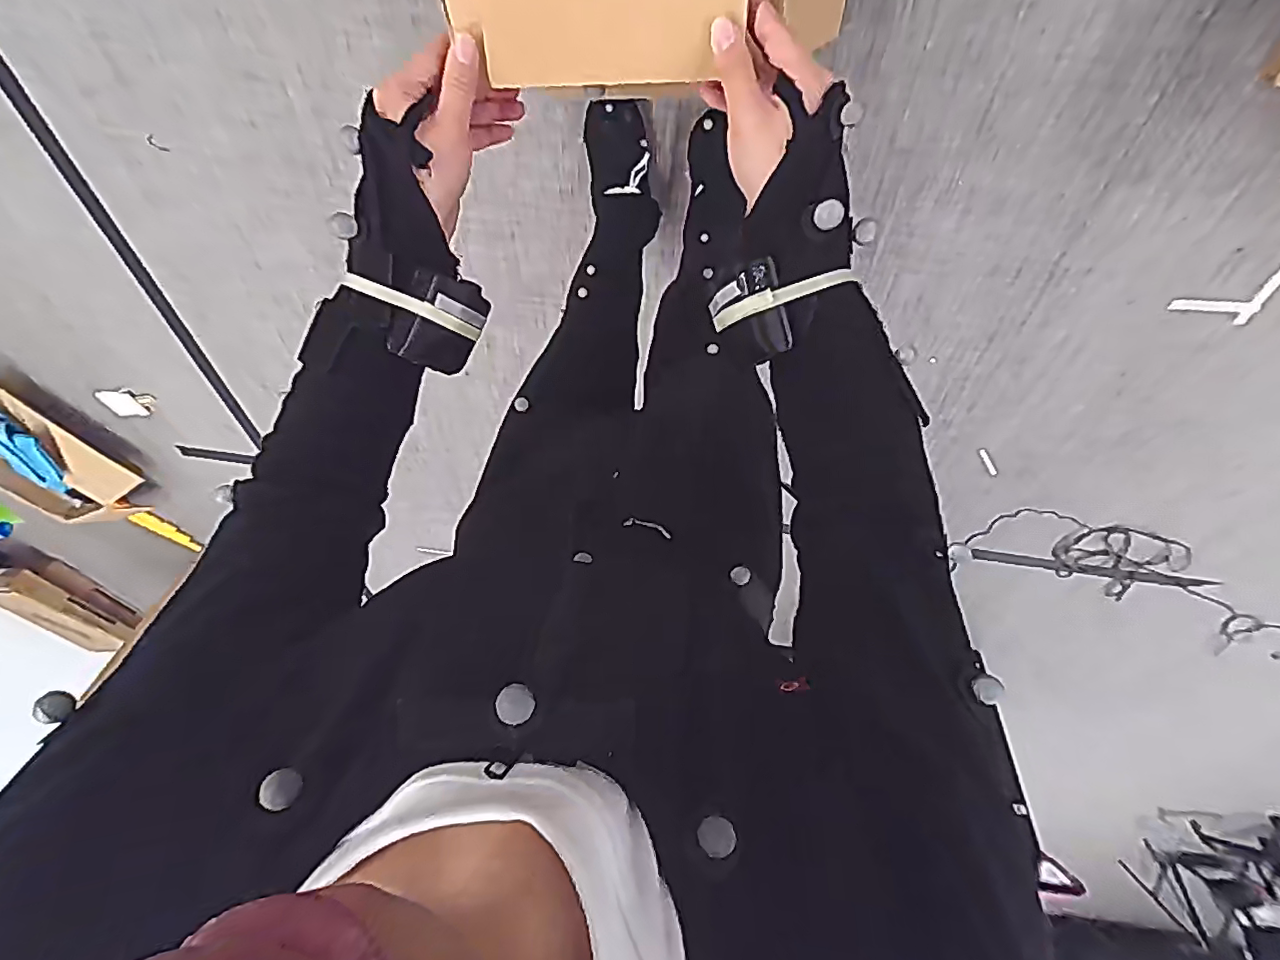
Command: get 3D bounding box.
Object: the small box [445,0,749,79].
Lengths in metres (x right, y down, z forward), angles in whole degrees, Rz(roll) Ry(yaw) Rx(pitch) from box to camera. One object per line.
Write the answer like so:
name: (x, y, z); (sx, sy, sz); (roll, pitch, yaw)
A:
small box: (-0.023, -0.363, 0.321); (0.179, 0.176, 0.168); (1, 140, 5)
